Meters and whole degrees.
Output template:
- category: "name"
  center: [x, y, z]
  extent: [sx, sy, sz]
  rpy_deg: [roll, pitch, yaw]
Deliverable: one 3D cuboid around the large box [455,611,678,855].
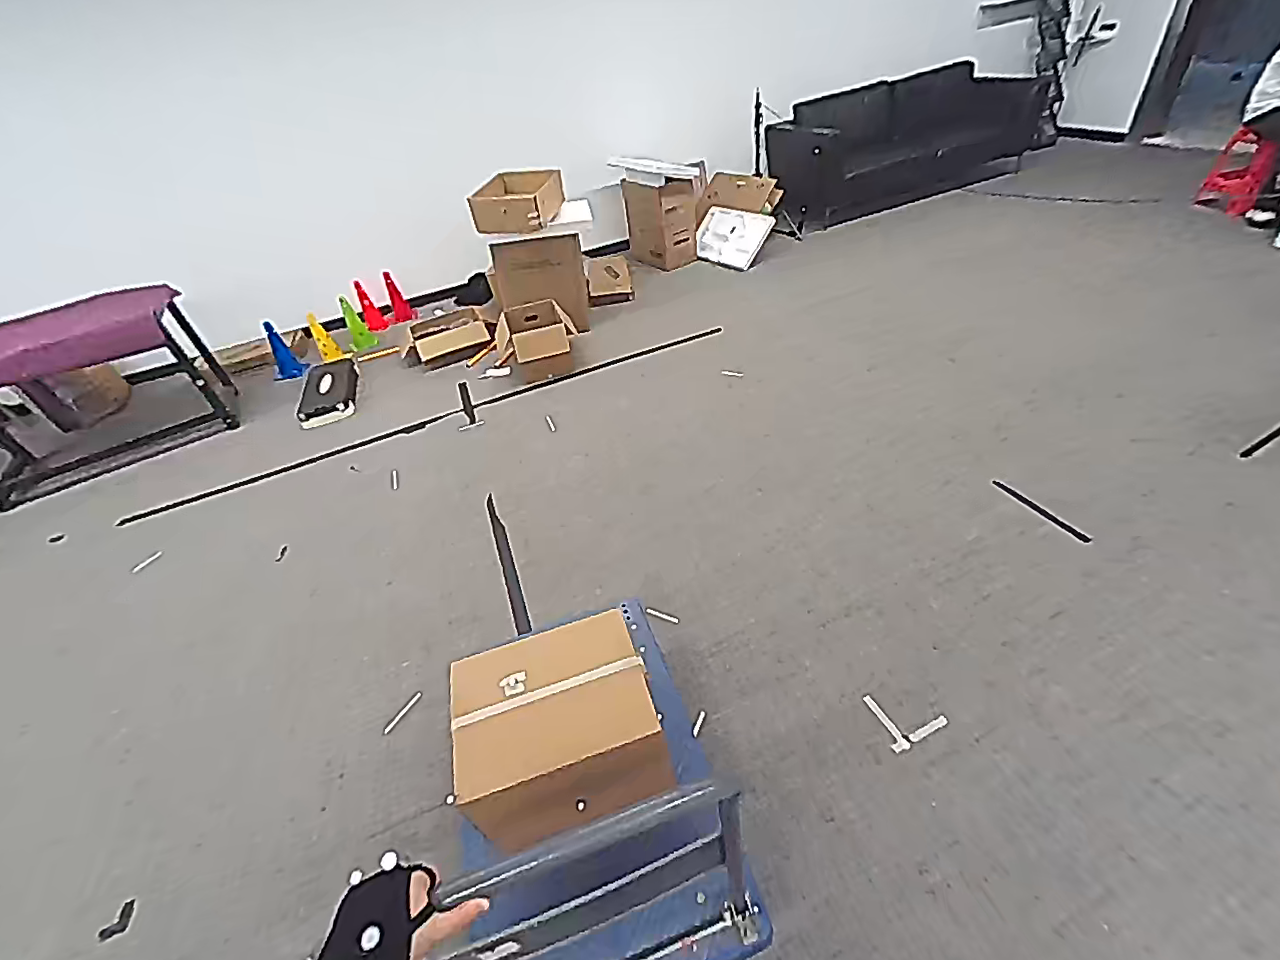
- category: "large box"
  center: [-0.164, 0.571, 1.235]
  extent: [0.408, 0.320, 0.320]
  rpy_deg: [-18, 39, -7]
